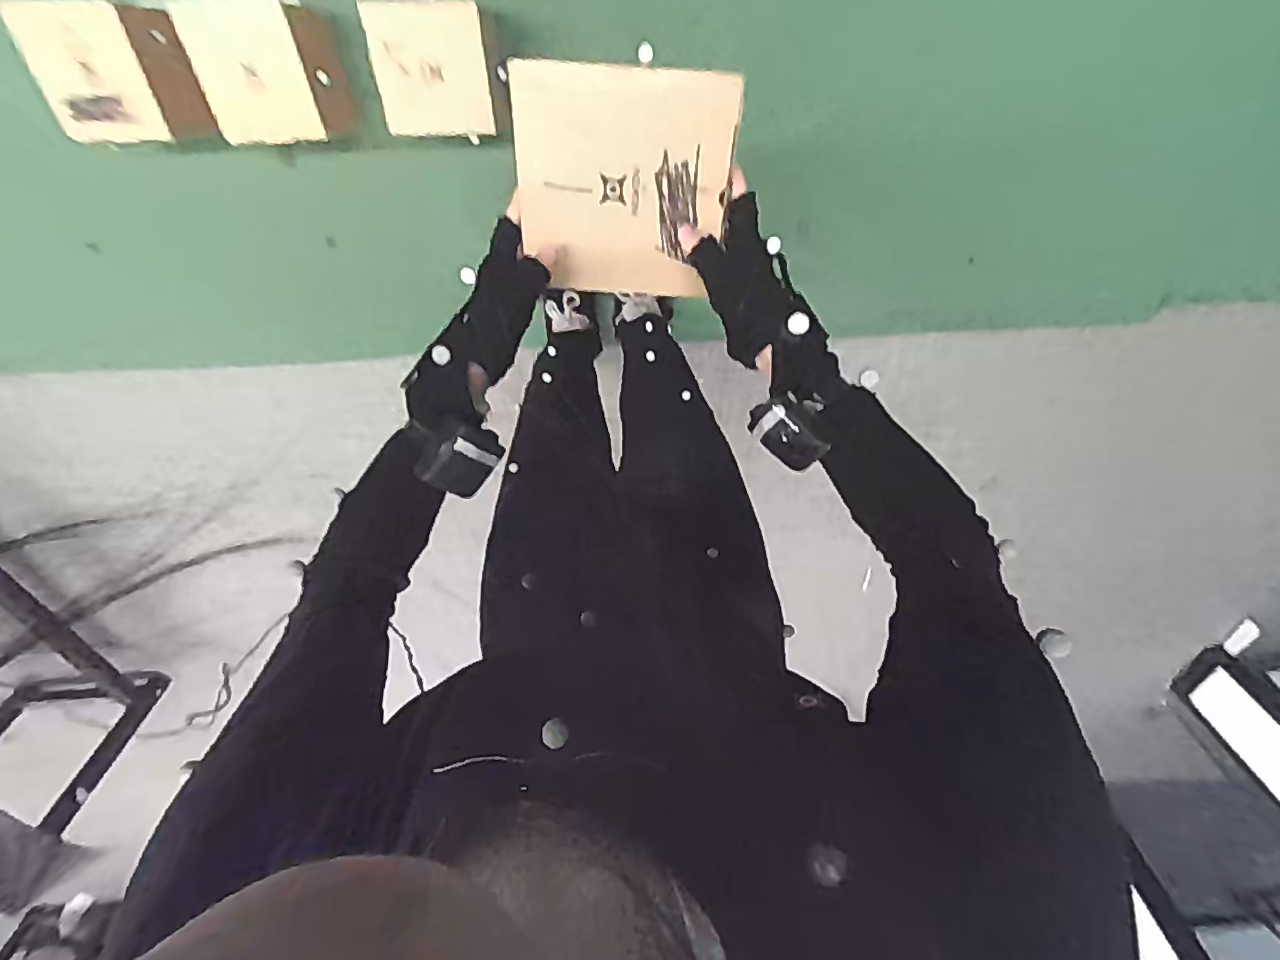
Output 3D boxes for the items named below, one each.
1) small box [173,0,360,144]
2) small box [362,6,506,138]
[{"bbox_3d":[-0.602,-0.675,0.903,0.168,0.176,0.179,-3,128,0],"label":"small box"},{"bbox_3d":[-0.327,-0.681,0.907,0.179,0.176,0.168,-1,127,-2],"label":"small box"}]
